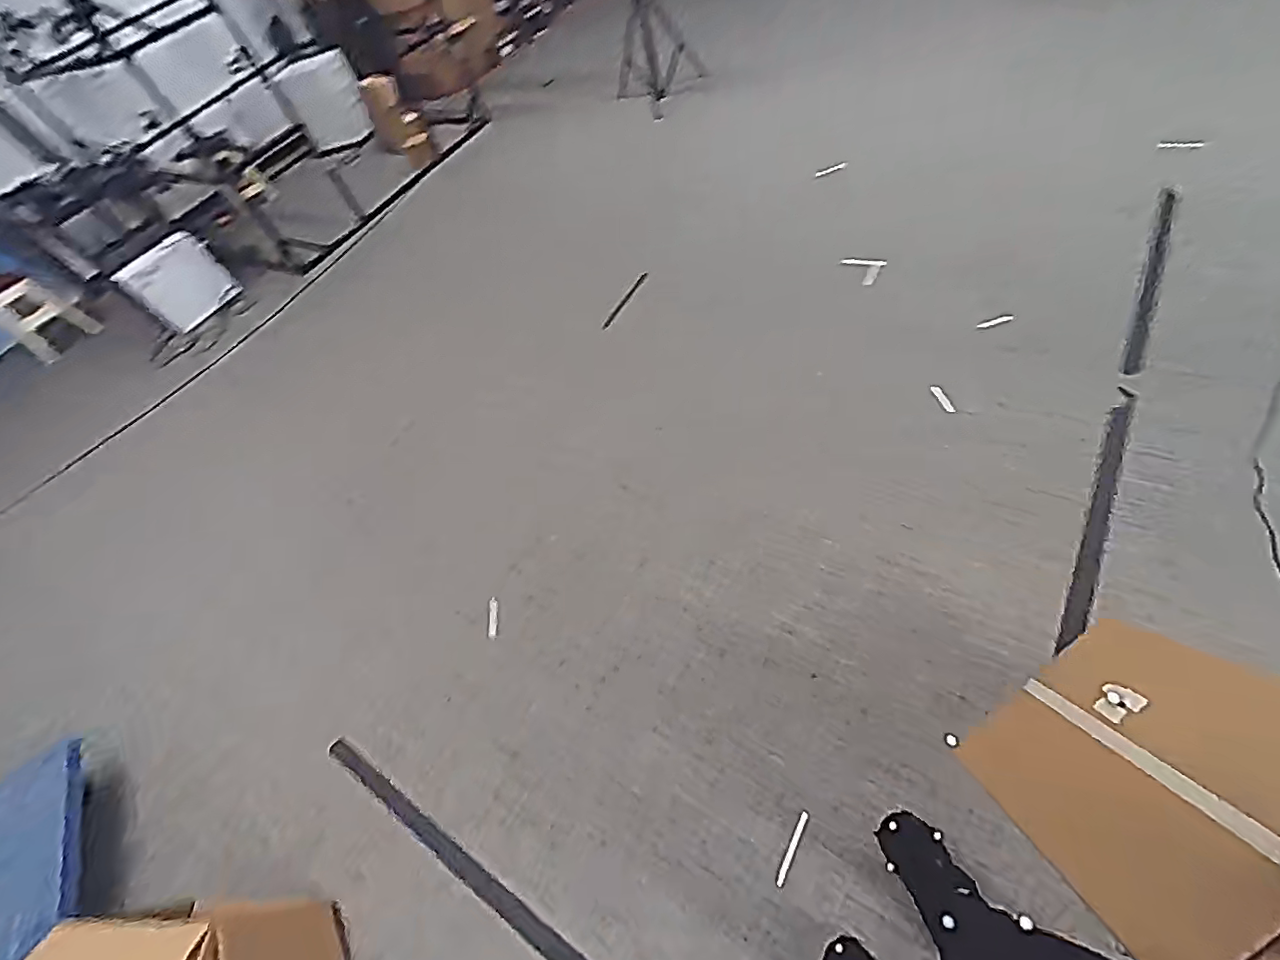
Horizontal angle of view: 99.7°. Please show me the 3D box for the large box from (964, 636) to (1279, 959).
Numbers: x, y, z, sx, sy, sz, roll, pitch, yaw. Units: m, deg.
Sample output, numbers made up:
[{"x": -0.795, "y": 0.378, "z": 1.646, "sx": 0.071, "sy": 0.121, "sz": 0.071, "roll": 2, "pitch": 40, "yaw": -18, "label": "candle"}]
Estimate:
[{"x": 0.698, "y": 0.451, "z": 0.628, "sx": 0.320, "sy": 0.408, "sz": 0.320, "roll": -43, "pitch": 87, "yaw": 6, "label": "large box"}]
